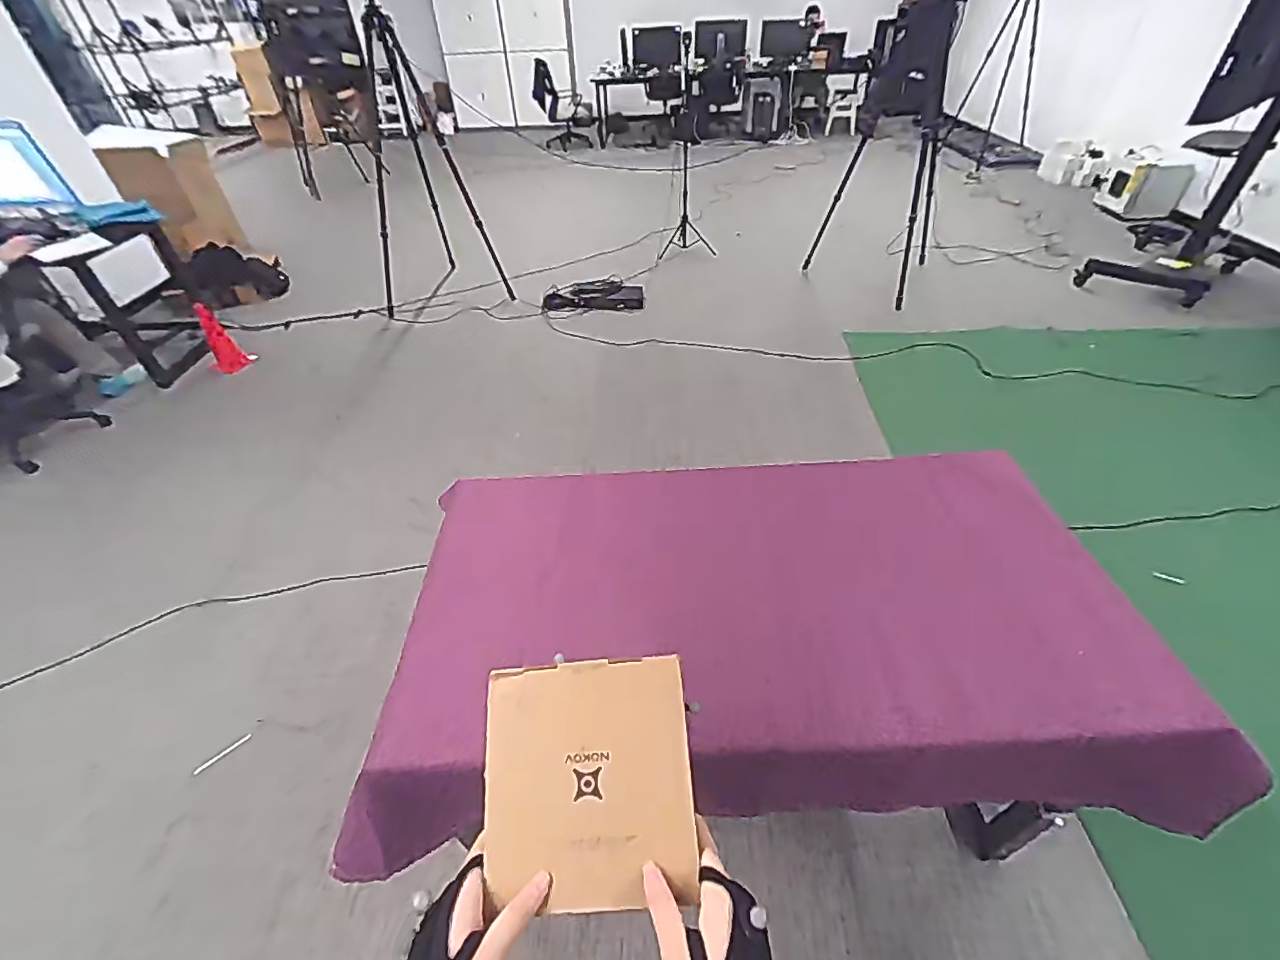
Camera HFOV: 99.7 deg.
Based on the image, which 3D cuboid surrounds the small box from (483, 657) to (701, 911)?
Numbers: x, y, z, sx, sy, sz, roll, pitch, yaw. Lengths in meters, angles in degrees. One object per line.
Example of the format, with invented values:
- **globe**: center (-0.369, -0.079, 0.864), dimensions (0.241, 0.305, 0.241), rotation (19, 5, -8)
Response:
- **small box**: center (-0.035, 0.268, 0.507), dimensions (0.168, 0.176, 0.179), rotation (-4, 68, 3)
